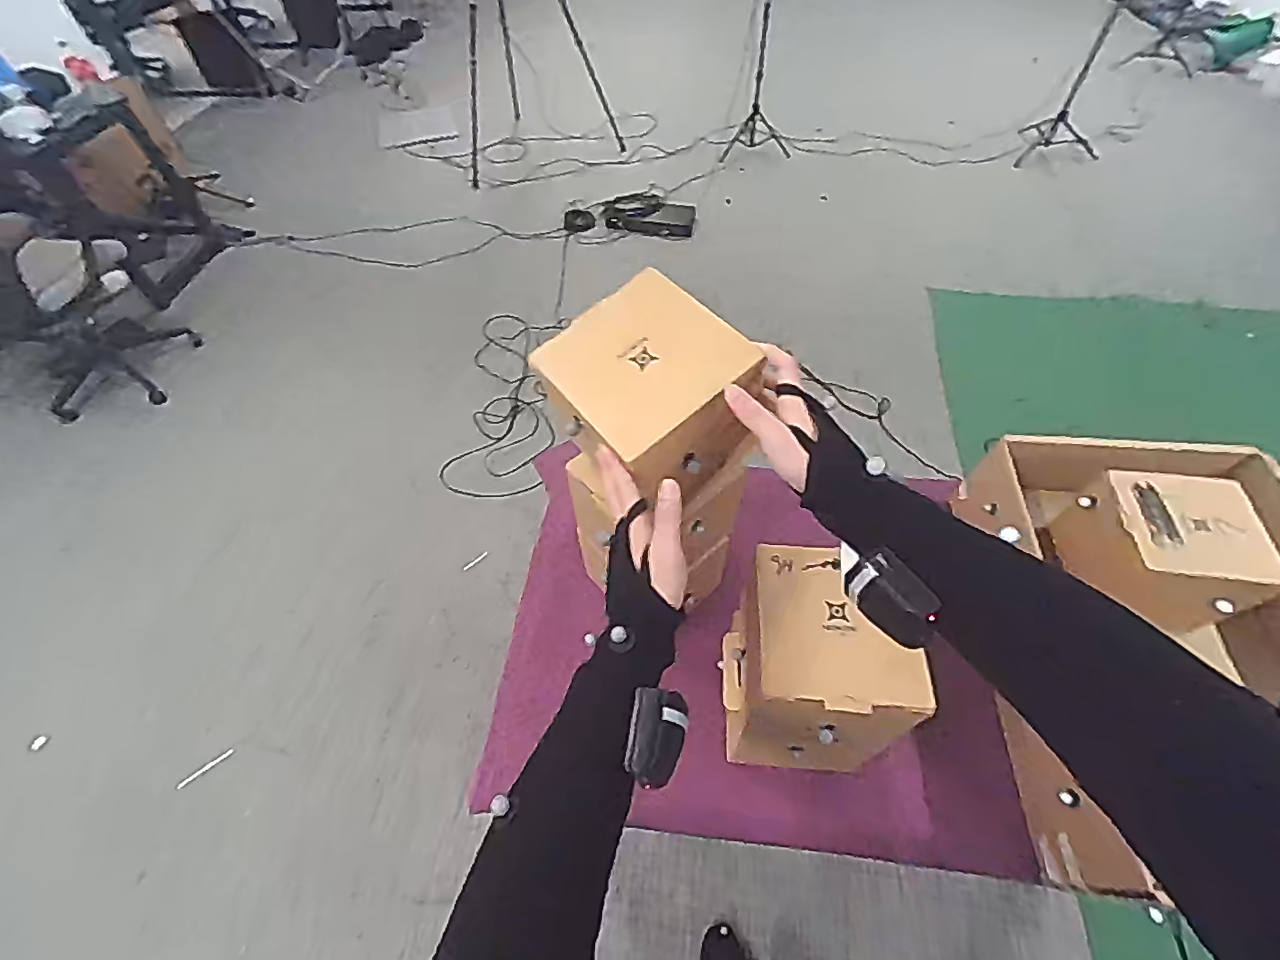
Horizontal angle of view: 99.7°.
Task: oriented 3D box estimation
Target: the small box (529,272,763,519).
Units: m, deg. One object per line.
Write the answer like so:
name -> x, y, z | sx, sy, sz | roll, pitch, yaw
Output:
small box -> 0.017, -0.078, 0.588 | 0.168, 0.176, 0.179 | -39, 62, -8

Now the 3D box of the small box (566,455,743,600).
small box -> 0.021, 0.038, 0.765 | 0.179, 0.176, 0.168 | -36, 61, -22

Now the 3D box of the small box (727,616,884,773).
small box -> 0.215, 0.304, 0.761 | 0.179, 0.176, 0.168 | 2, 53, 4

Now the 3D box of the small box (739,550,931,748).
small box -> 0.209, 0.202, 0.634 | 0.168, 0.176, 0.179 | 3, 53, 4

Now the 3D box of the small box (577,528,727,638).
small box -> 0.020, 0.136, 0.894 | 0.168, 0.176, 0.179 | -35, 60, -22
